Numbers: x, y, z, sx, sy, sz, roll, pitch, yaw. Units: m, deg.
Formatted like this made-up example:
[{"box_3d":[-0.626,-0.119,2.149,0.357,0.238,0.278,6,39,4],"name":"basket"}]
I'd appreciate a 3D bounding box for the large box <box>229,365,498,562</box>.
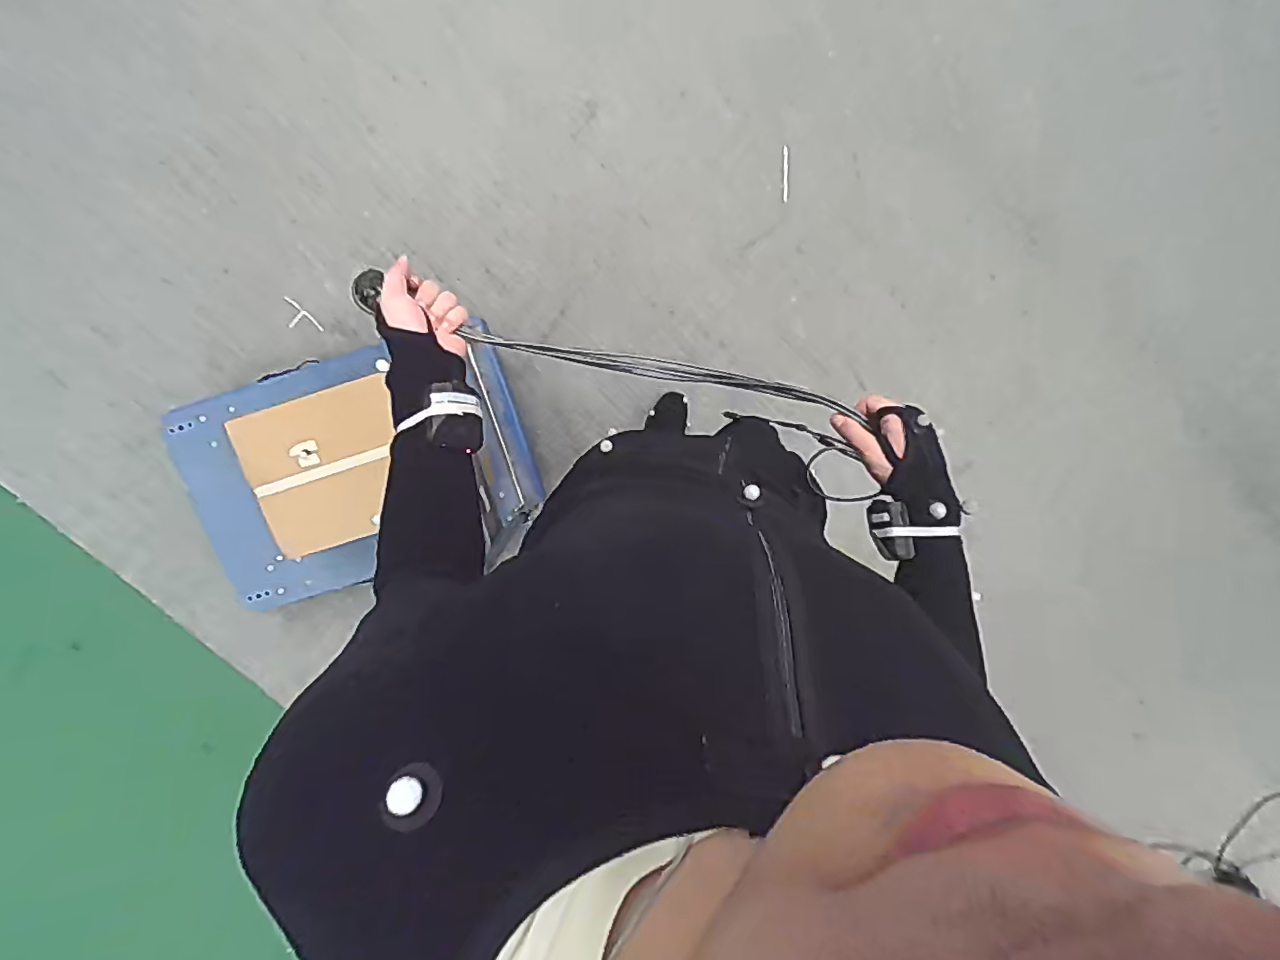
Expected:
[{"box_3d":[-0.602,-0.054,1.257,0.408,0.320,0.320,-18,98,2],"name":"large box"}]
